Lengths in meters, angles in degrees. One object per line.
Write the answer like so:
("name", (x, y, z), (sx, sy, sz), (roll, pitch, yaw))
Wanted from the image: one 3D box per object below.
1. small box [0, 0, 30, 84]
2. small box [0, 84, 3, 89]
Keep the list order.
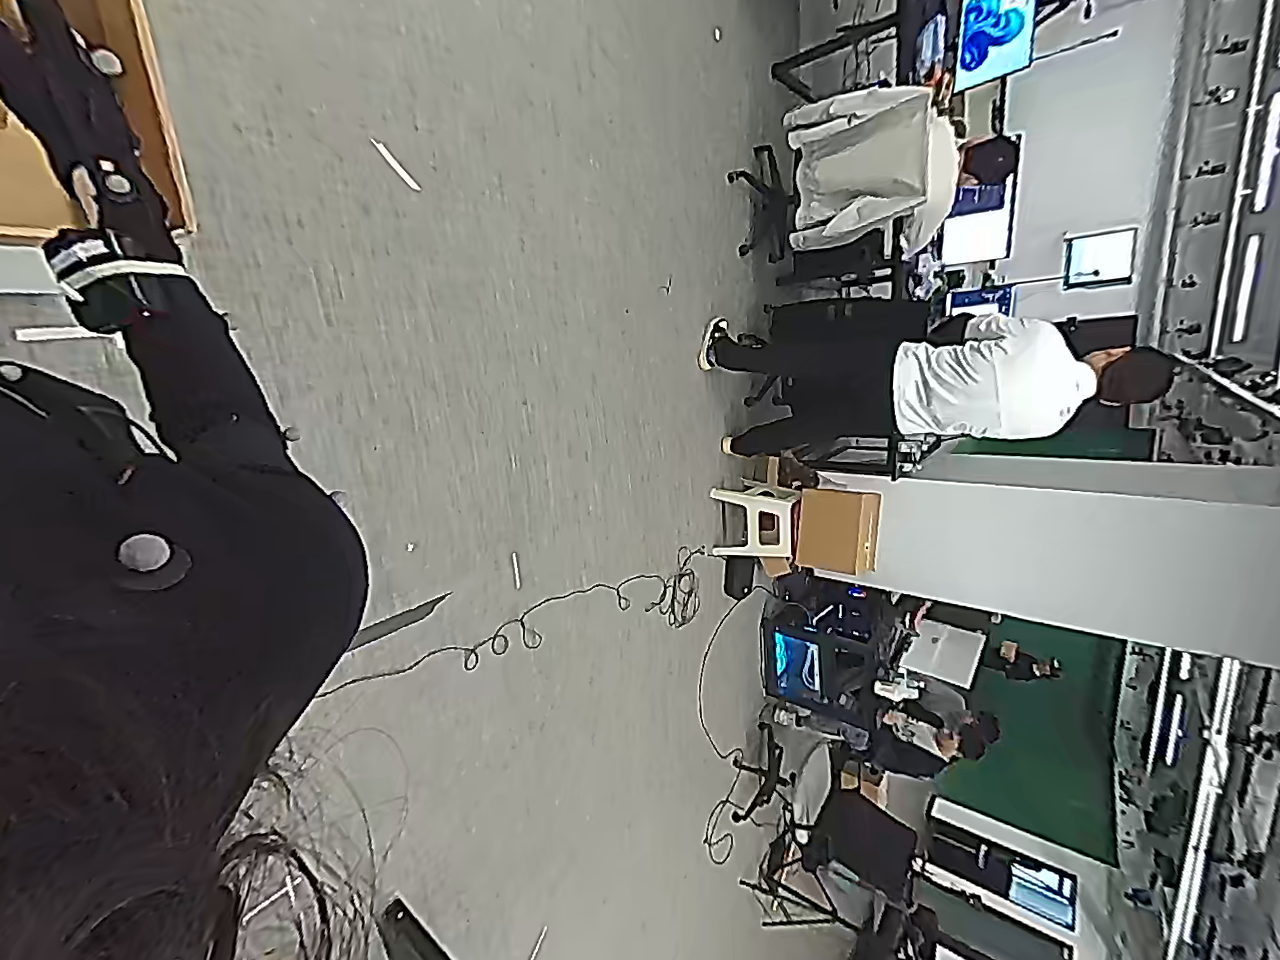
("small box", (-0.555, -0.399, 0.355), (0.168, 0.176, 0.179), (-20, 118, -46))
("small box", (-0.698, -0.438, 0.455), (0.179, 0.176, 0.168), (-20, 115, -47))
